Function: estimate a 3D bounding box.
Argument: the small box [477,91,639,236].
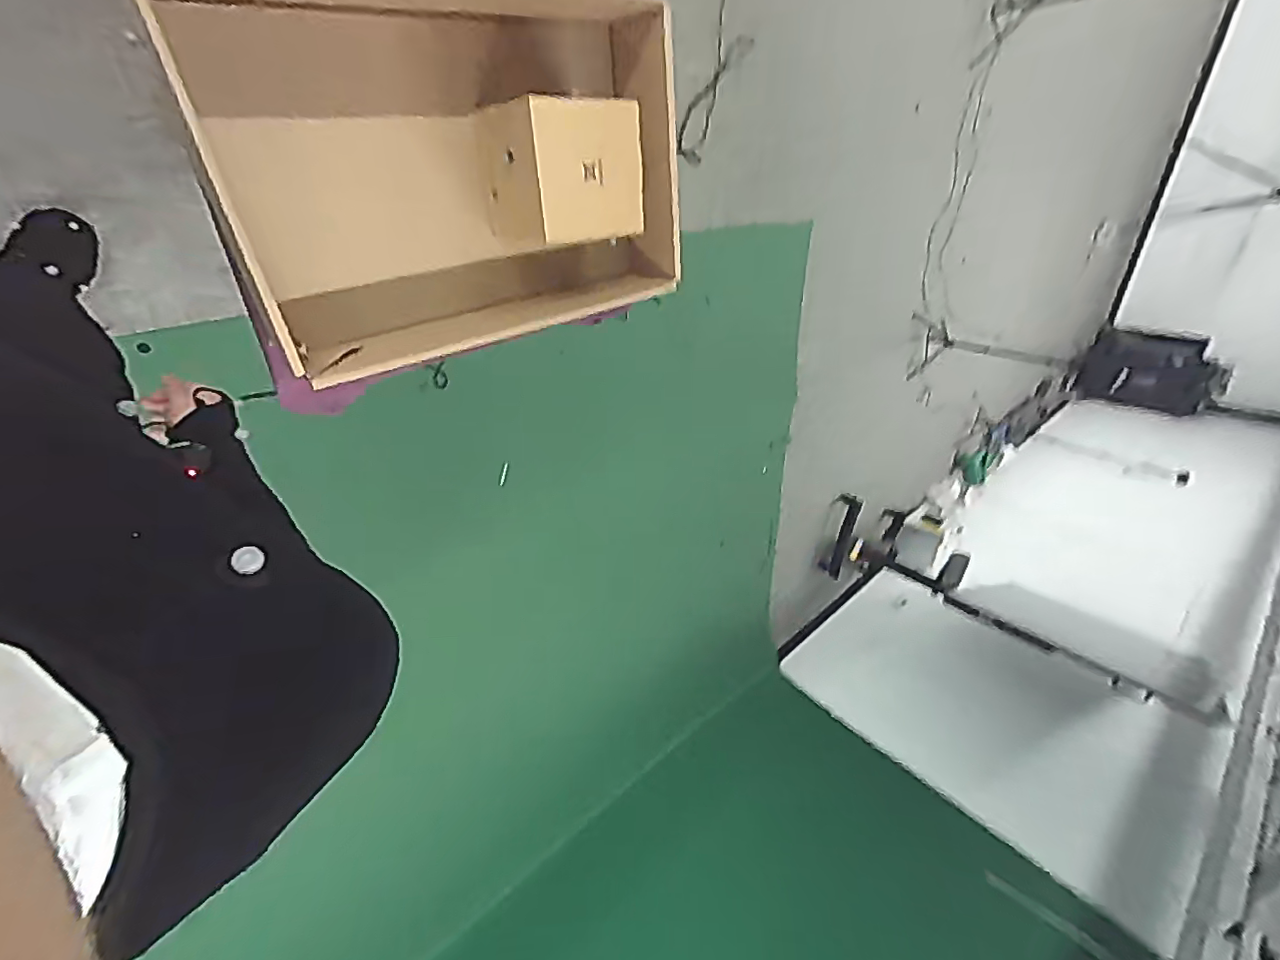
[{"bbox_3d":[-0.123,-0.454,0.793,0.179,0.176,0.168,-24,126,-33],"label":"small box"}]
